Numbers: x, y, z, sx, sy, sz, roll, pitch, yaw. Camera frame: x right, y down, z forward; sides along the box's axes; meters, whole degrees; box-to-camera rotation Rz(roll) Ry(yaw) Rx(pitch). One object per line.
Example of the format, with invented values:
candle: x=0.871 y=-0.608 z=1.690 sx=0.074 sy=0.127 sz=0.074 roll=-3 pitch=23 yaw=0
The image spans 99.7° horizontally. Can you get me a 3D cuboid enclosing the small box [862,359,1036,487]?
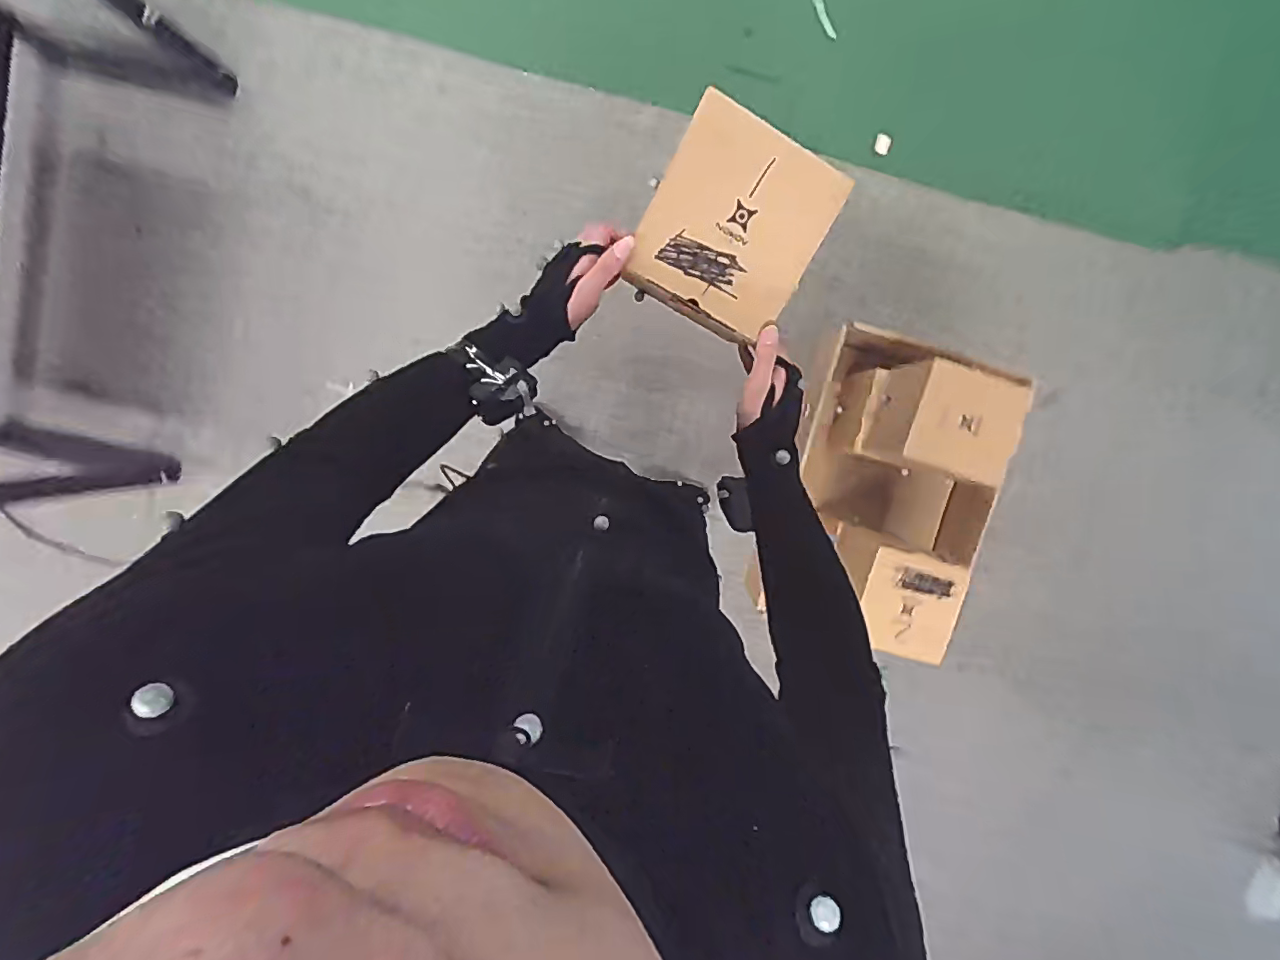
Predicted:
small box: x=0.528 y=-0.099 z=0.950 sx=0.179 sy=0.176 sz=0.168 roll=18 pitch=94 yaw=-2

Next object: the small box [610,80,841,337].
small box: x=0.079 y=-0.274 z=0.595 sx=0.168 sy=0.176 sz=0.179 roll=26 pitch=102 yaw=-9
